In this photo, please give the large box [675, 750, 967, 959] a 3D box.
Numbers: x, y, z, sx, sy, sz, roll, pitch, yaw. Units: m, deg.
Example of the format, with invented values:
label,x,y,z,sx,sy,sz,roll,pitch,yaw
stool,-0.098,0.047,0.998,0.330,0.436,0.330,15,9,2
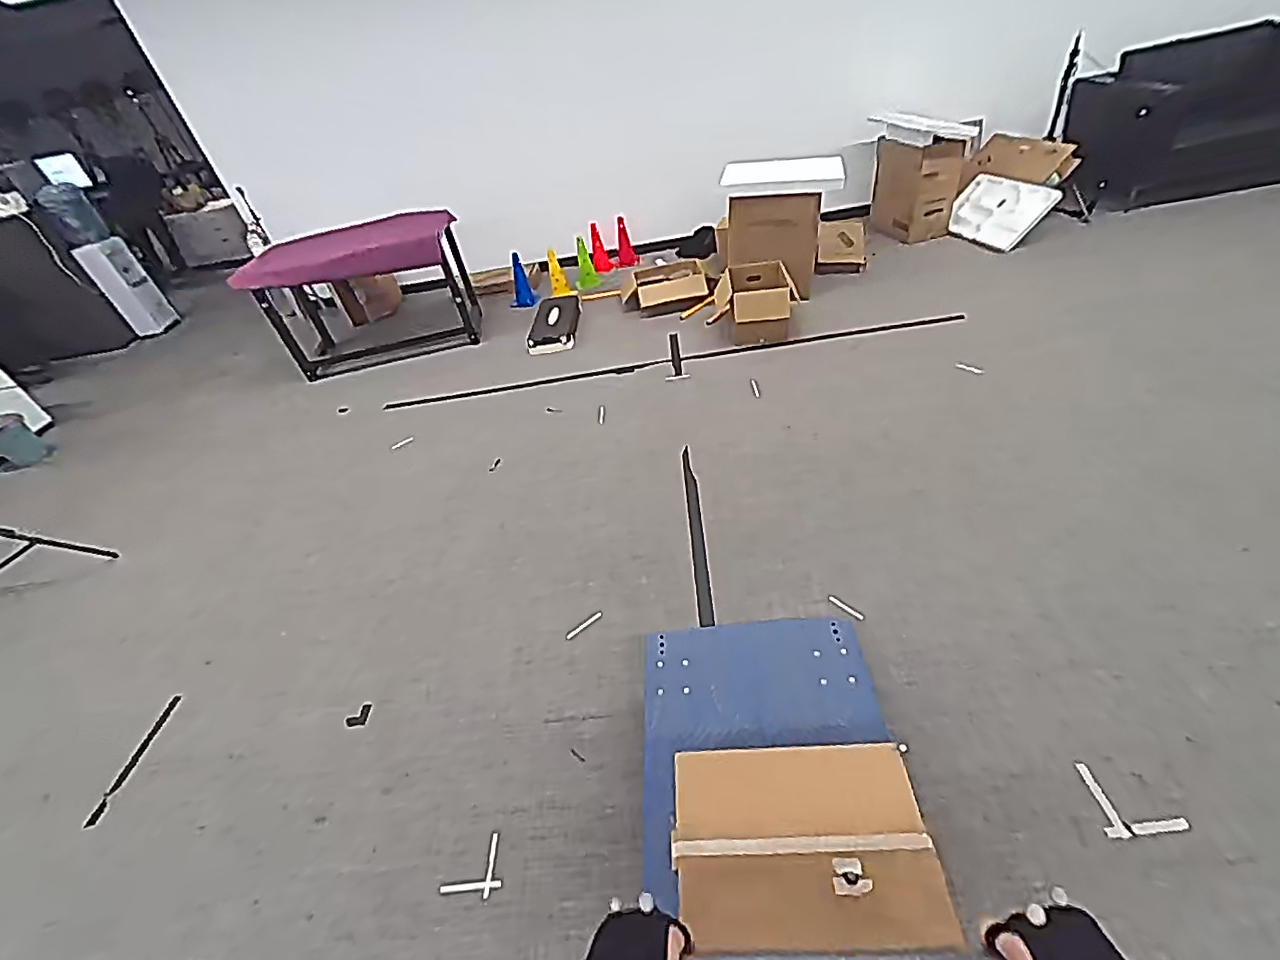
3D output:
label,x,y,z,sx,sy,sz,roll,pitch,yaw
large box,0.278,0.715,0.964,0.408,0.320,0.320,-5,41,6
